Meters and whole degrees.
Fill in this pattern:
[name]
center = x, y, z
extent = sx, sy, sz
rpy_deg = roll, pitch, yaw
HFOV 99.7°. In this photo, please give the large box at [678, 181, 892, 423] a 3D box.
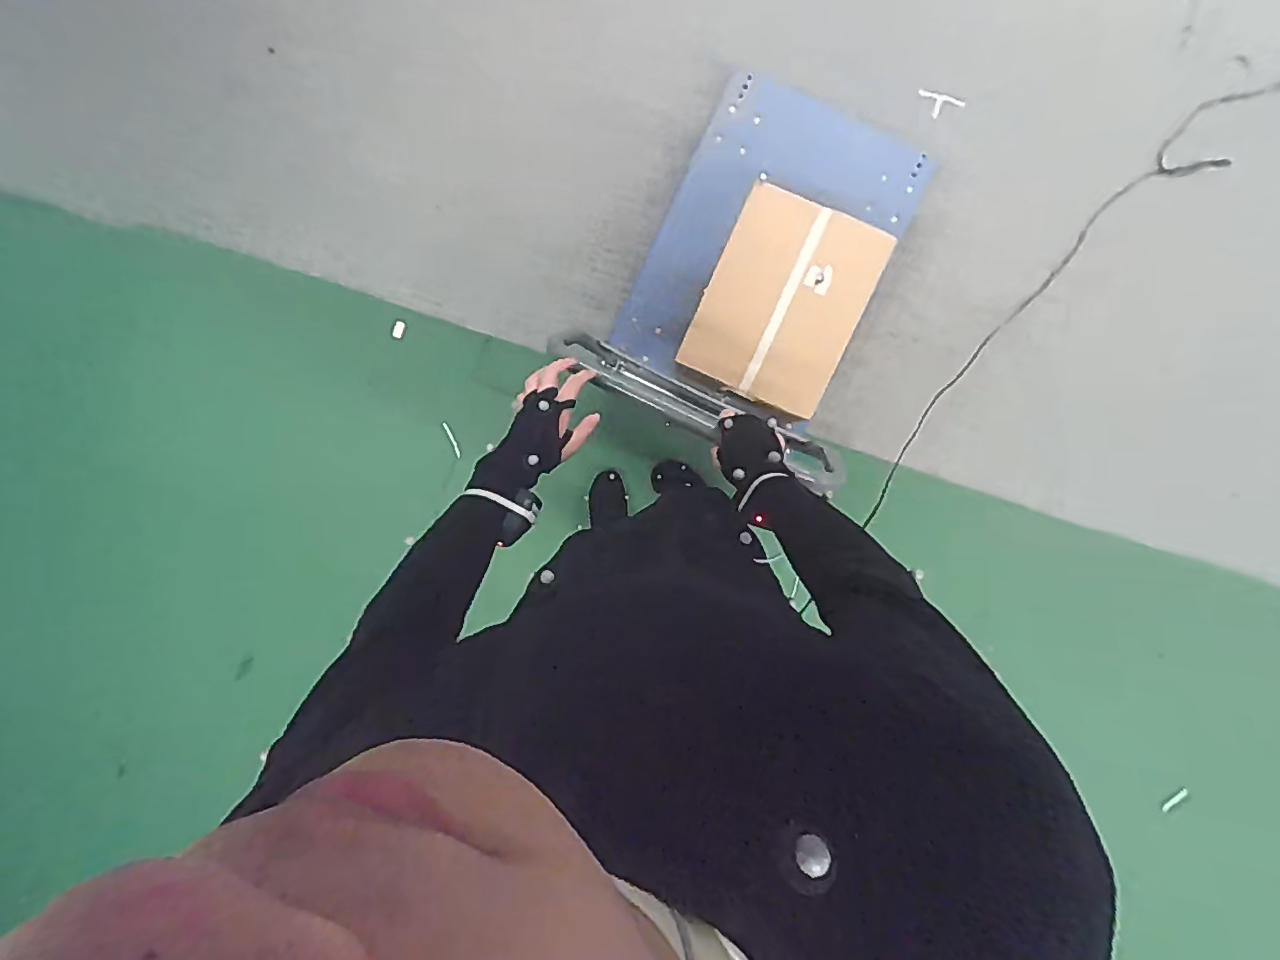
[large box]
center = 0.304, -0.378, 1.260
extent = 0.320, 0.320, 0.408
rpy_deg = 25, 95, 1
